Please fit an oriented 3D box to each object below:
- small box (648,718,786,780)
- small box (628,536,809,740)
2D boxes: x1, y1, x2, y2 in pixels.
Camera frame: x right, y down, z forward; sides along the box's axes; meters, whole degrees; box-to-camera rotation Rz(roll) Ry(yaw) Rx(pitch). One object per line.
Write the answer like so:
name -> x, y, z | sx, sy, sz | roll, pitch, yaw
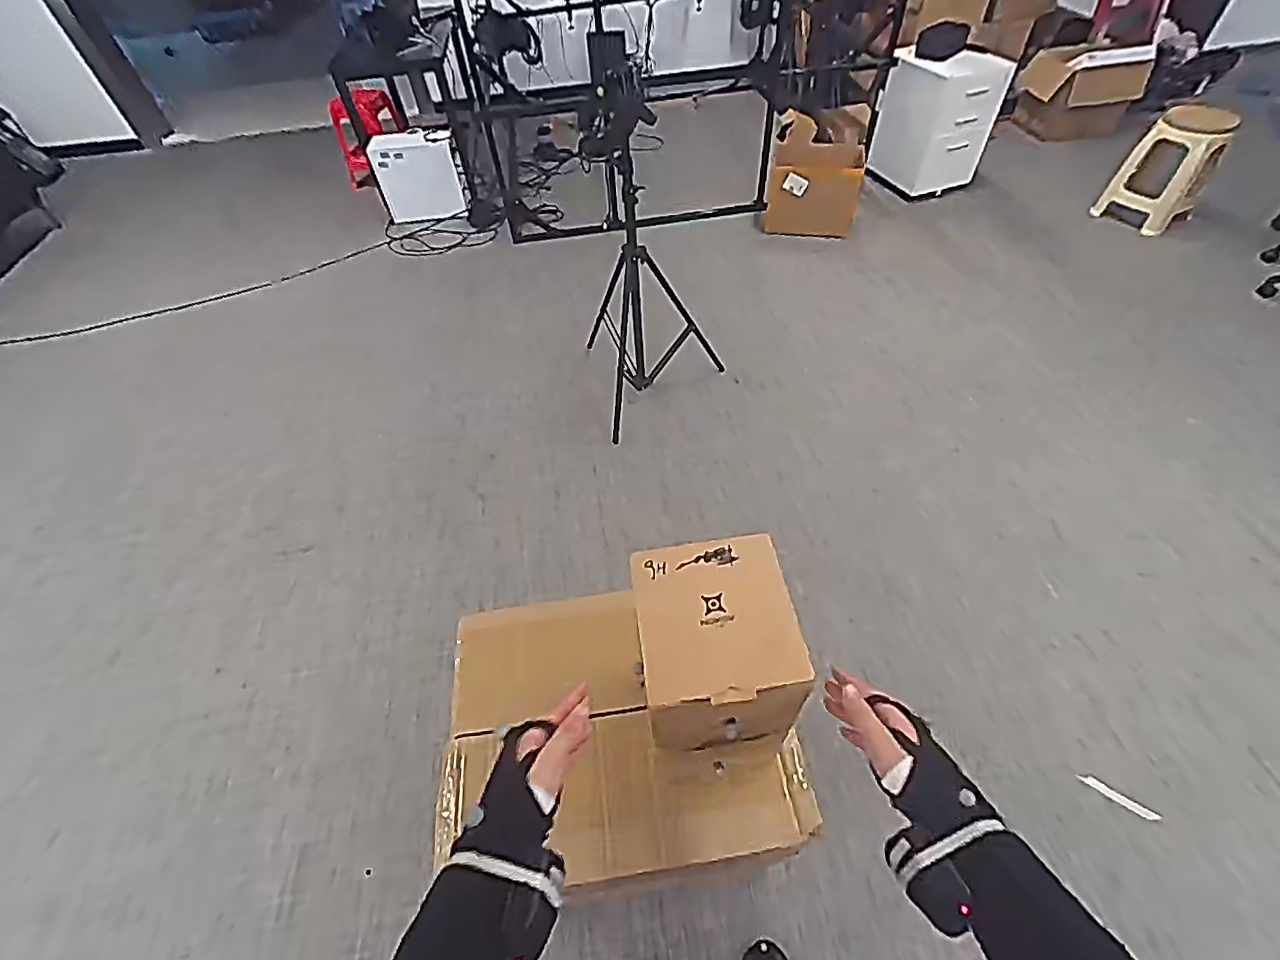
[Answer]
small box -> 0.090, 0.299, 0.761 | 0.168, 0.176, 0.179 | -9, 51, -2
small box -> 0.083, 0.193, 0.636 | 0.168, 0.176, 0.179 | -9, 52, -2
